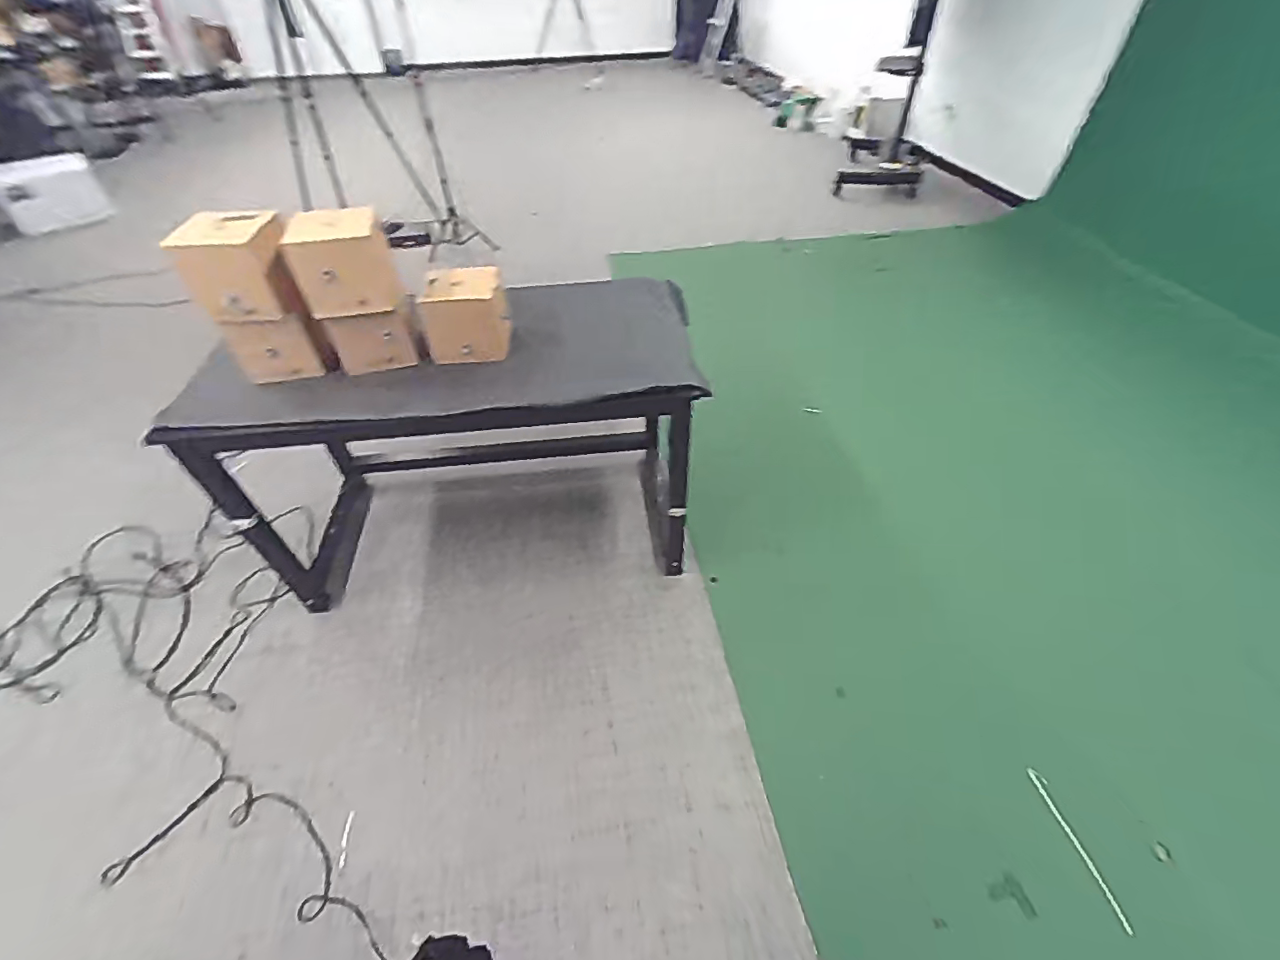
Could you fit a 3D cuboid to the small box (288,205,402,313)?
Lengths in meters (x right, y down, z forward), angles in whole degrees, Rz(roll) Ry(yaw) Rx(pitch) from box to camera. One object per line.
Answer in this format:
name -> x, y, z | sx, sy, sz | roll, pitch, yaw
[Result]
small box -> -0.635, -0.479, 1.186 | 0.168, 0.176, 0.179 | -10, 46, -11
